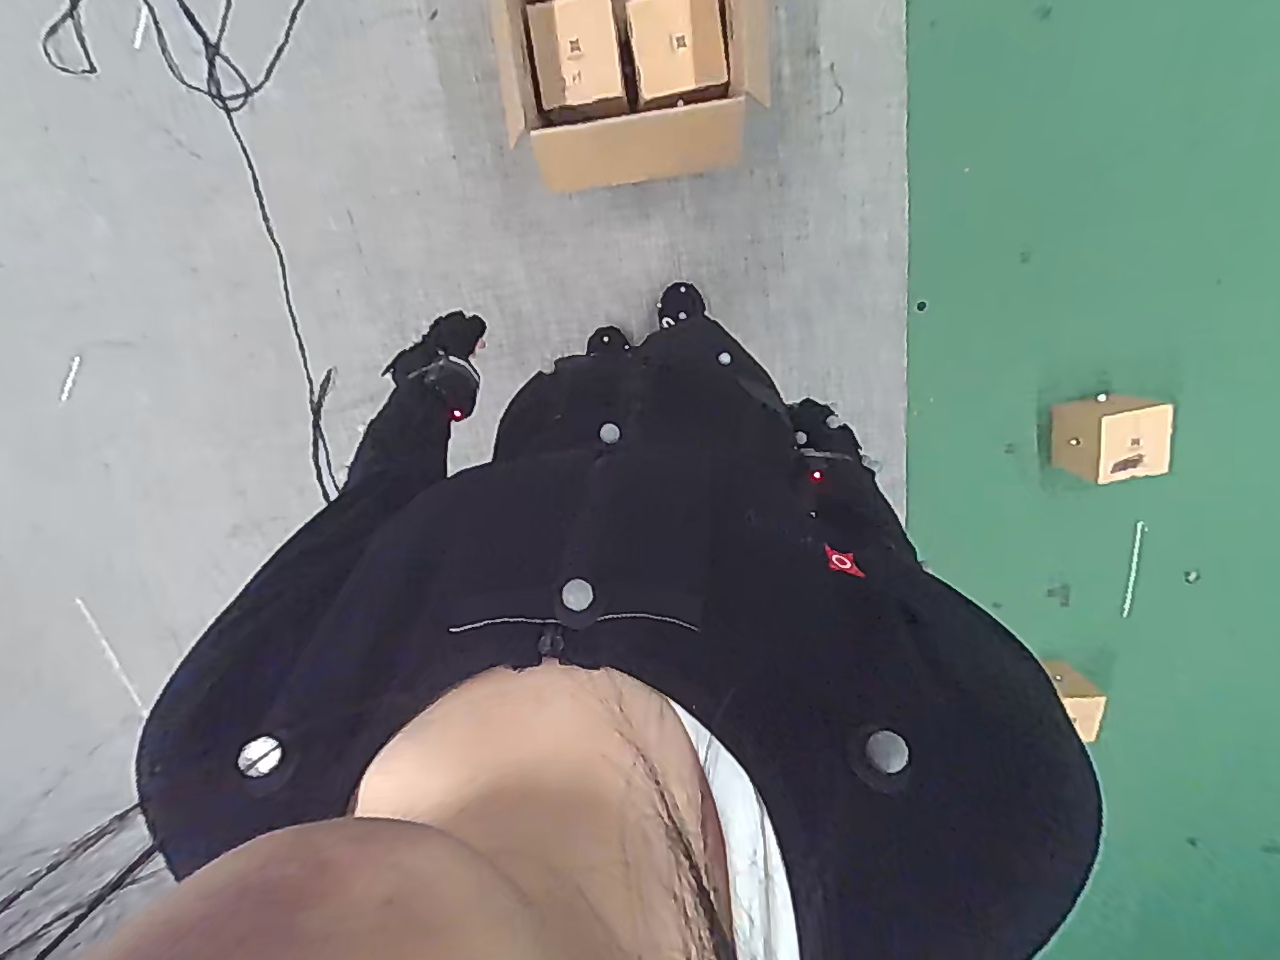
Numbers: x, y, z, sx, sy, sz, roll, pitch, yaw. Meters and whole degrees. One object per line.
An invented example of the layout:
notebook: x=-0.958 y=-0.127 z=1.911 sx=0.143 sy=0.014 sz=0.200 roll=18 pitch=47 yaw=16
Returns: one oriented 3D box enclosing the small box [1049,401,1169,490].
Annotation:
small box: x=1.185 y=-0.092 z=1.381 sx=0.168 sy=0.176 sz=0.179 roll=-11 pitch=107 yaw=4
